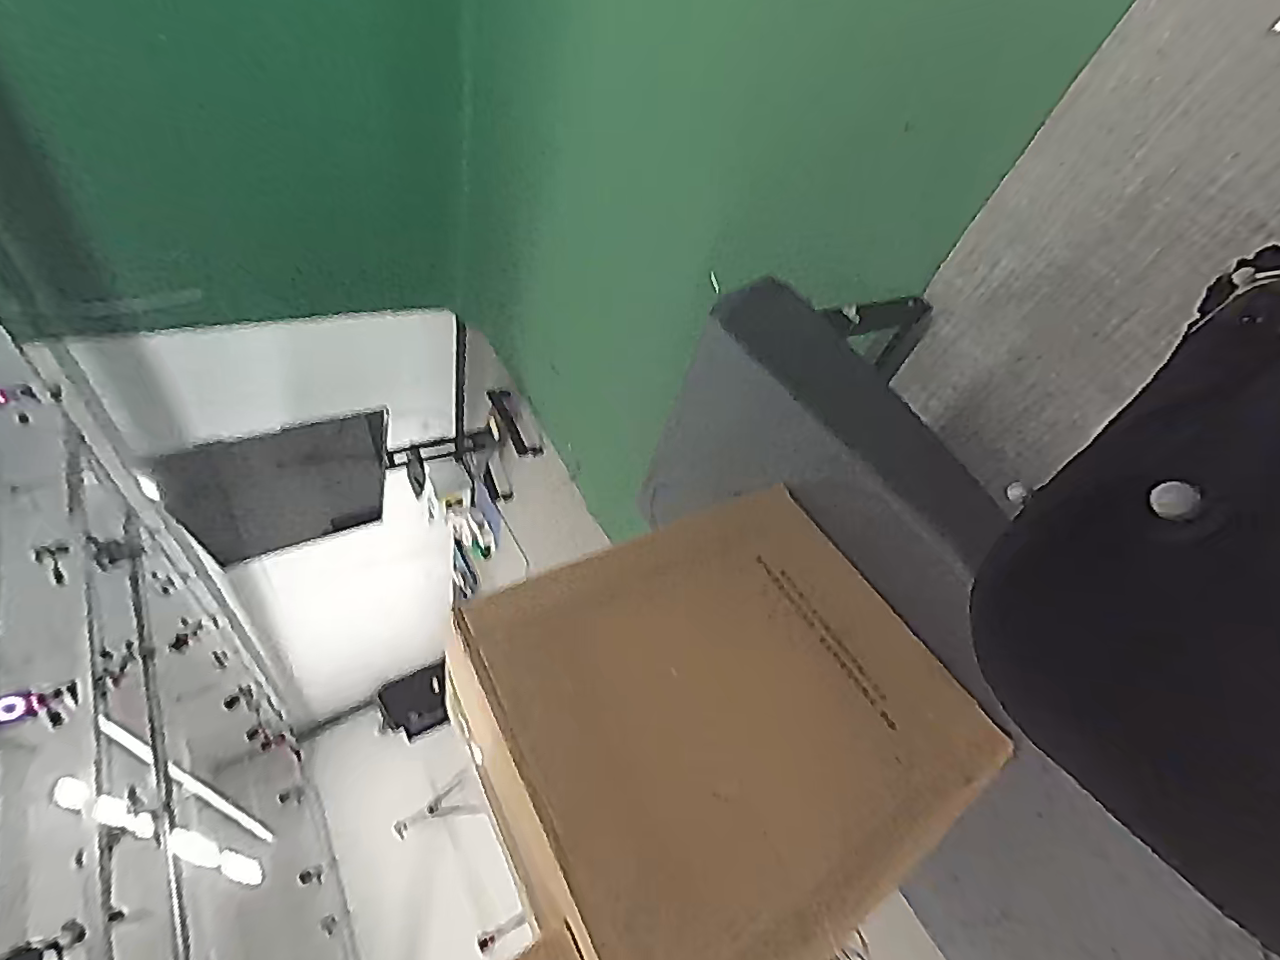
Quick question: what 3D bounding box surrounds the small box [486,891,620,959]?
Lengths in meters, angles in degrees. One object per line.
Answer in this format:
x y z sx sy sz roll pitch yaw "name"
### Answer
-0.099 0.559 0.543 0.168 0.176 0.179 49 141 31 "small box"
